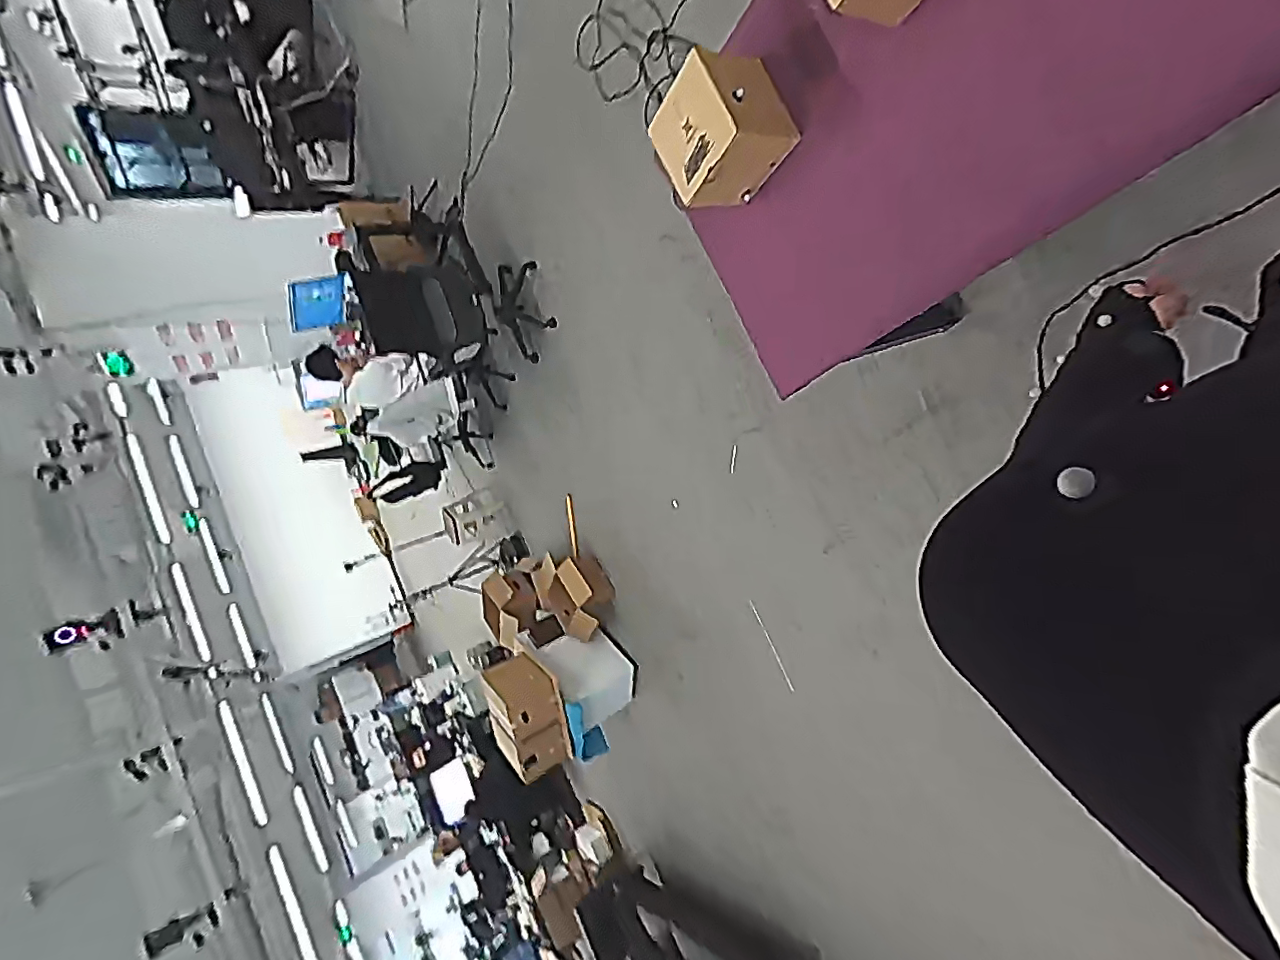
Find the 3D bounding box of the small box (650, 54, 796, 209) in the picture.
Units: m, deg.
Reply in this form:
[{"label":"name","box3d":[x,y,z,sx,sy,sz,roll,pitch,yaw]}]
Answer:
[{"label":"small box","box3d":[0.154,-0.635,1.001,0.168,0.176,0.179,-35,77,55]}]

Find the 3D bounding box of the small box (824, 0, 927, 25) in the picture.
[{"label":"small box","box3d":[0.324,-0.744,0.704,0.168,0.176,0.179,-33,80,57]}]
